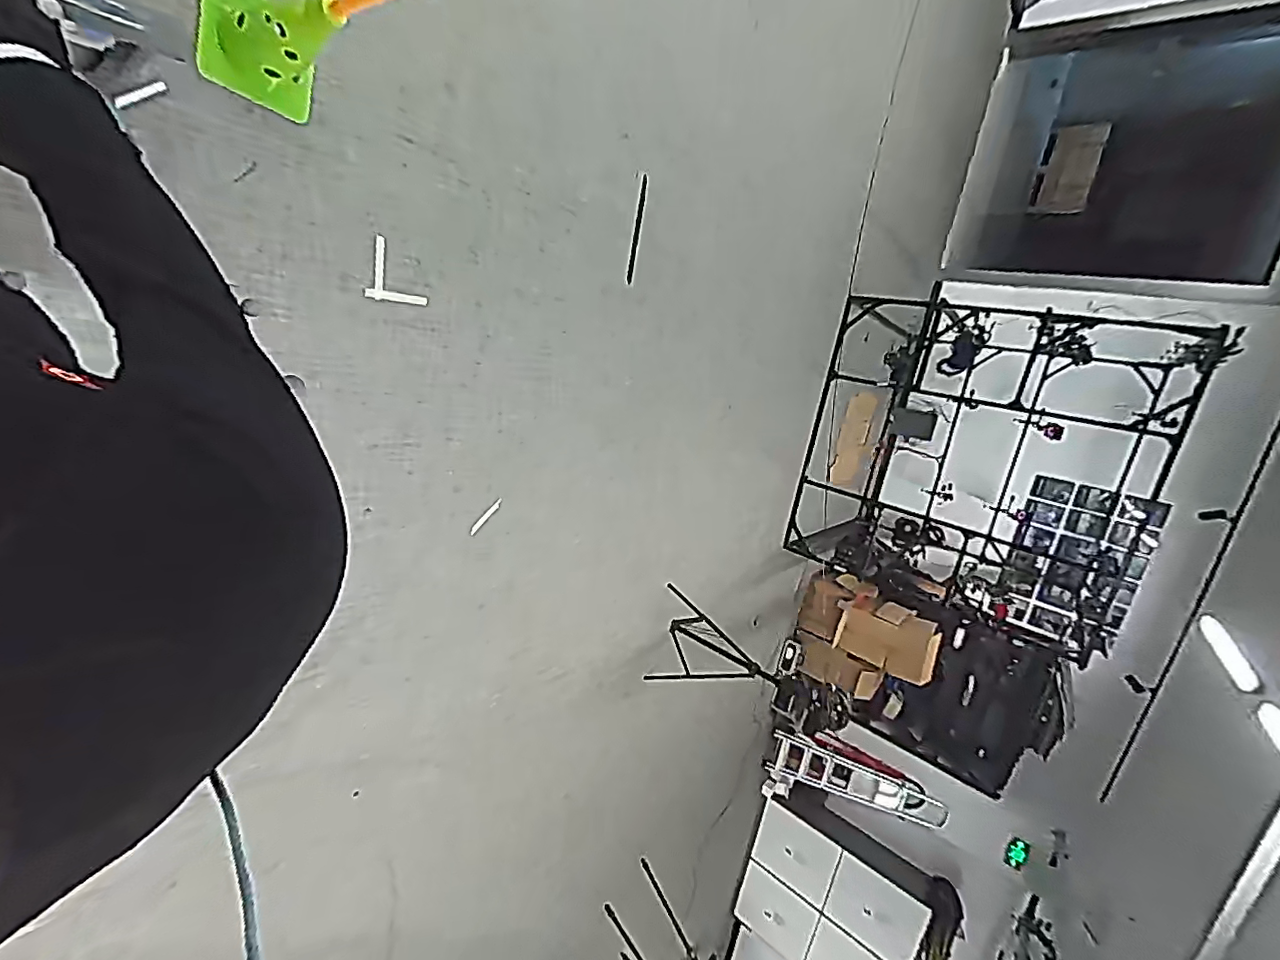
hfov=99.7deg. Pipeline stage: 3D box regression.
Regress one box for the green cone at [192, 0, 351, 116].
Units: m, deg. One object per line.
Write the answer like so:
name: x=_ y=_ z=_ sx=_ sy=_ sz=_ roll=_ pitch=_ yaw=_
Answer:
green cone: x=-0.651 y=-0.841 z=1.008 sx=0.202 sy=0.368 sz=0.200 roll=0 pitch=107 yaw=-55
